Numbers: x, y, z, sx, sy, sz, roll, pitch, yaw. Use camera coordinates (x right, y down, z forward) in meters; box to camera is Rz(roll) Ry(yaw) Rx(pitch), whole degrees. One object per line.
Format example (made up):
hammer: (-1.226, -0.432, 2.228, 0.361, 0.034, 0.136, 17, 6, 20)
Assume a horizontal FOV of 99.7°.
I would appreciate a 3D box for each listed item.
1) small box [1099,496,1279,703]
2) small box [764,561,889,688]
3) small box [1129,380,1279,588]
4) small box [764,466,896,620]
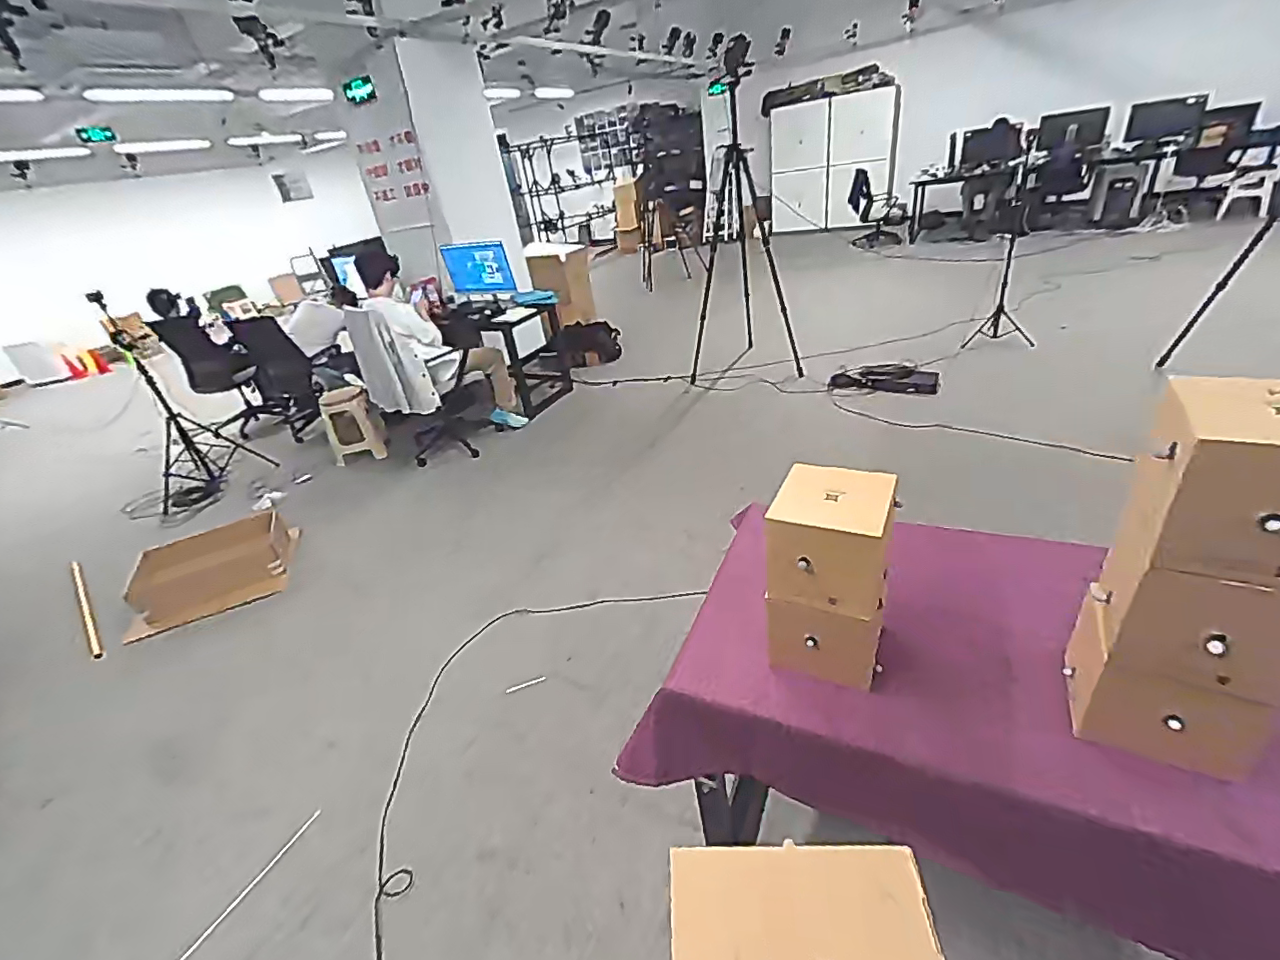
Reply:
small box: (0.707, 0.142, 0.681, 0.168, 0.176, 0.179, 11, 37, 31)
small box: (0.330, 0.237, 0.957, 0.179, 0.176, 0.168, 7, 34, 28)
small box: (0.679, 0.002, 0.598, 0.168, 0.176, 0.179, 10, 35, 30)
small box: (0.310, 0.098, 0.876, 0.168, 0.176, 0.179, 8, 34, 28)
